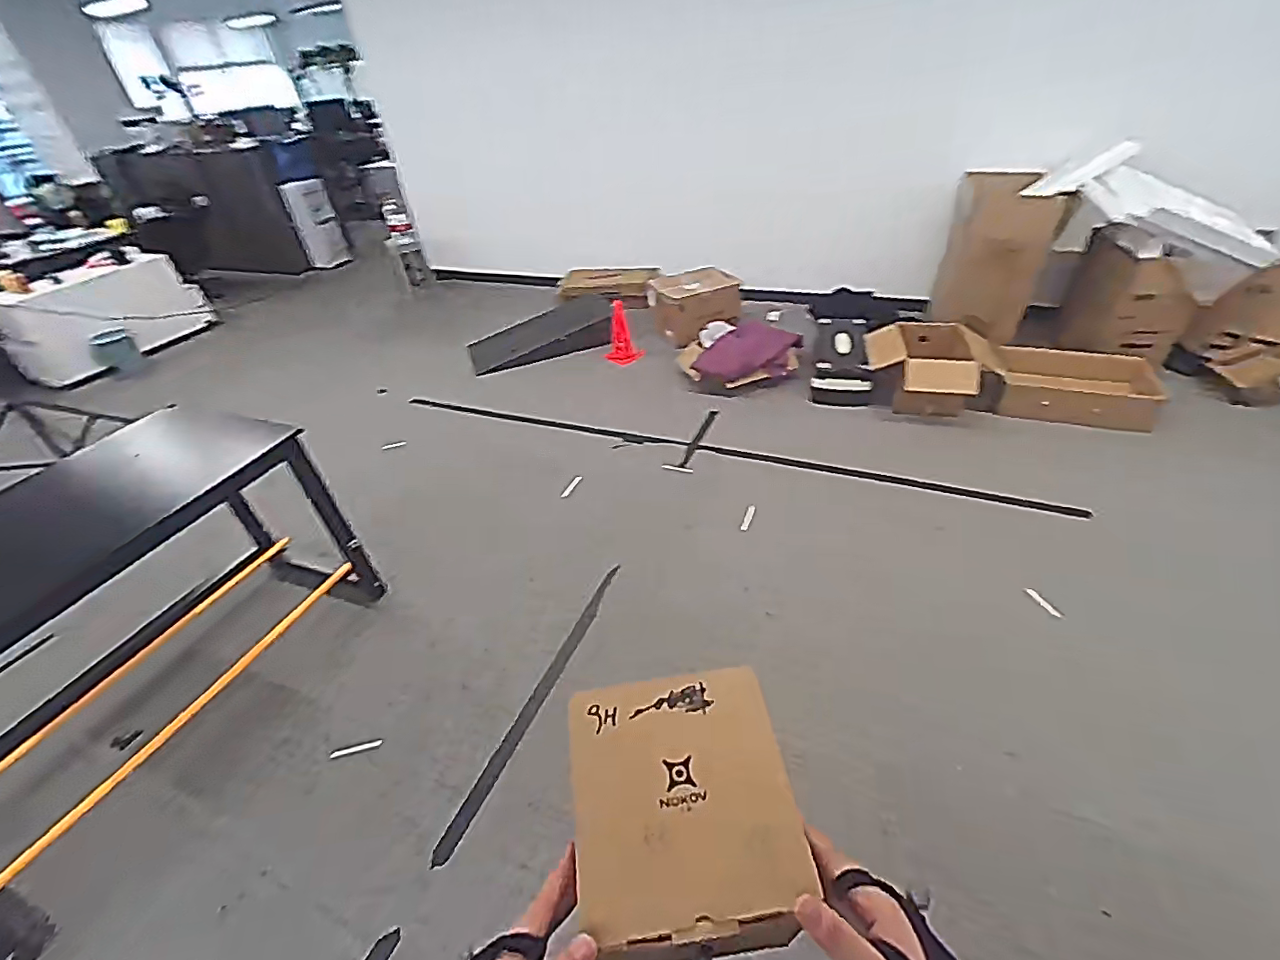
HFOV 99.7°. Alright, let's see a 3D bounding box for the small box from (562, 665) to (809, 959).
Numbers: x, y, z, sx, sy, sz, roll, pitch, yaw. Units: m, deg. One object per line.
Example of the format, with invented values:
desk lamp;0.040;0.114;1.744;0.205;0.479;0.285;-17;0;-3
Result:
small box;0.029;0.291;0.471;0.168;0.176;0.179;-8;44;-4
